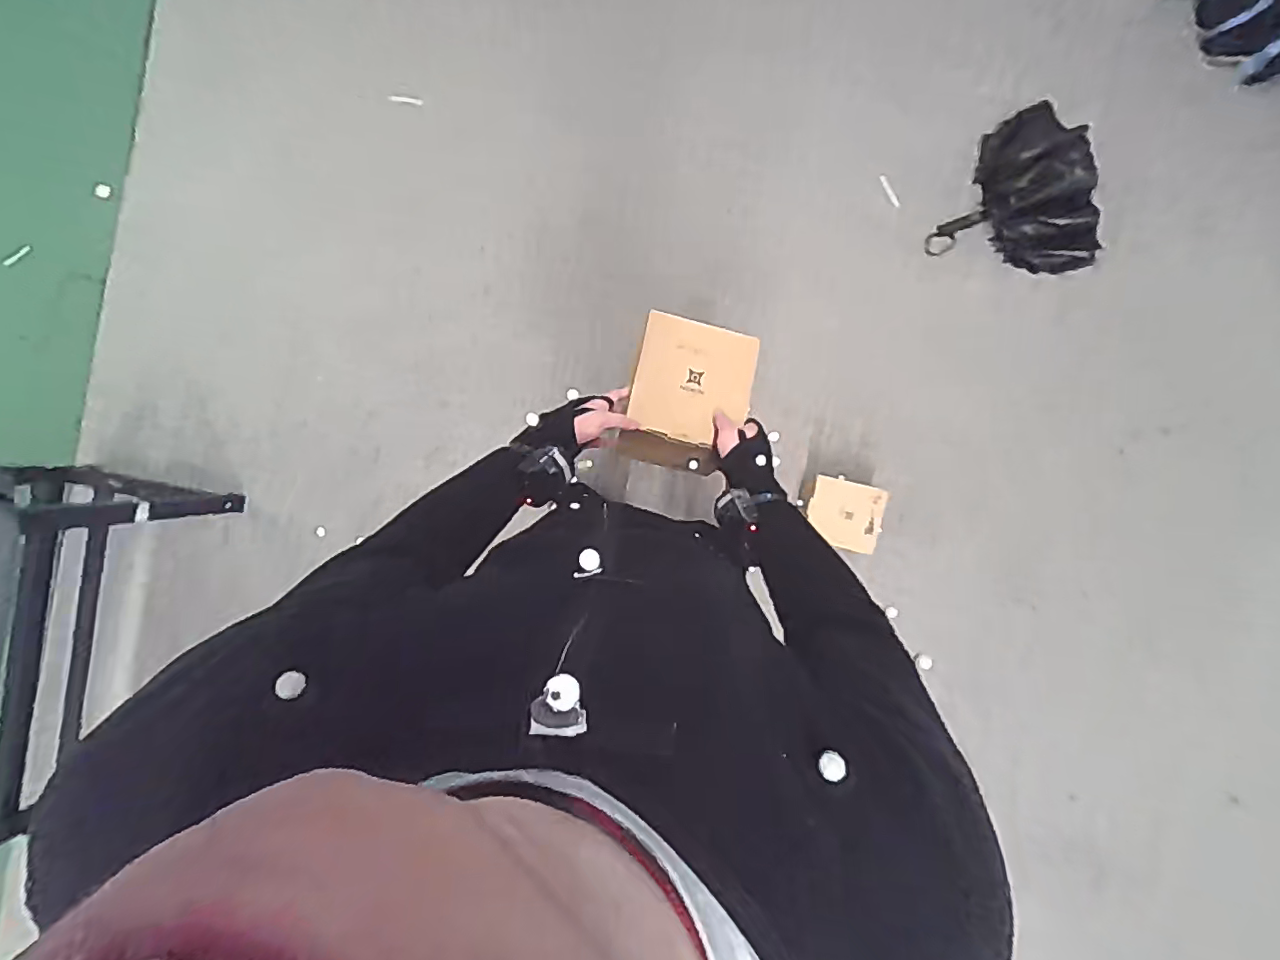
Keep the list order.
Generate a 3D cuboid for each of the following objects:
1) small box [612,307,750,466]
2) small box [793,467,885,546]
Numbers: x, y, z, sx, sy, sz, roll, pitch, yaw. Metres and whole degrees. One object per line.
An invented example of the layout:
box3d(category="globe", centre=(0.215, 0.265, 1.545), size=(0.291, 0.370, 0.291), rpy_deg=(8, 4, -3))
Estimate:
box3d(category="small box", centre=(0.054, -0.131, 0.832), size=(0.168, 0.176, 0.179), rpy_deg=(11, 76, -7))
box3d(category="small box", centre=(0.517, 0.067, 1.432), size=(0.179, 0.176, 0.168), rpy_deg=(13, 93, 6))
